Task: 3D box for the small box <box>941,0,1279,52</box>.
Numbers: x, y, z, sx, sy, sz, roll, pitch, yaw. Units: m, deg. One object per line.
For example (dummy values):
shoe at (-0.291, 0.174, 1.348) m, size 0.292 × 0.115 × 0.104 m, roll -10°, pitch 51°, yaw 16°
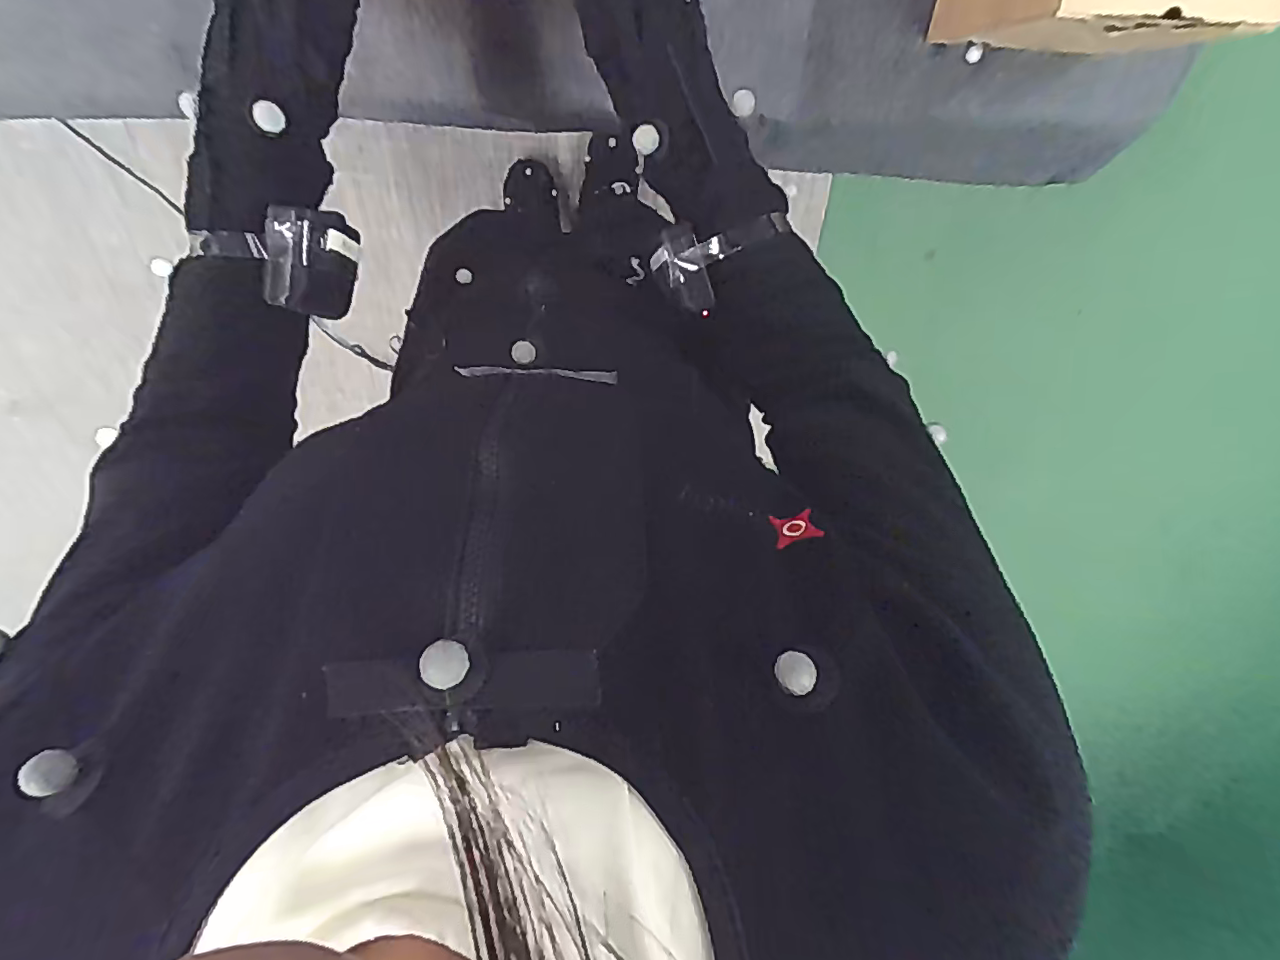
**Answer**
small box at (0.348, -0.418, 0.377) m, size 0.168 × 0.176 × 0.179 m, roll -1°, pitch 123°, yaw -5°
